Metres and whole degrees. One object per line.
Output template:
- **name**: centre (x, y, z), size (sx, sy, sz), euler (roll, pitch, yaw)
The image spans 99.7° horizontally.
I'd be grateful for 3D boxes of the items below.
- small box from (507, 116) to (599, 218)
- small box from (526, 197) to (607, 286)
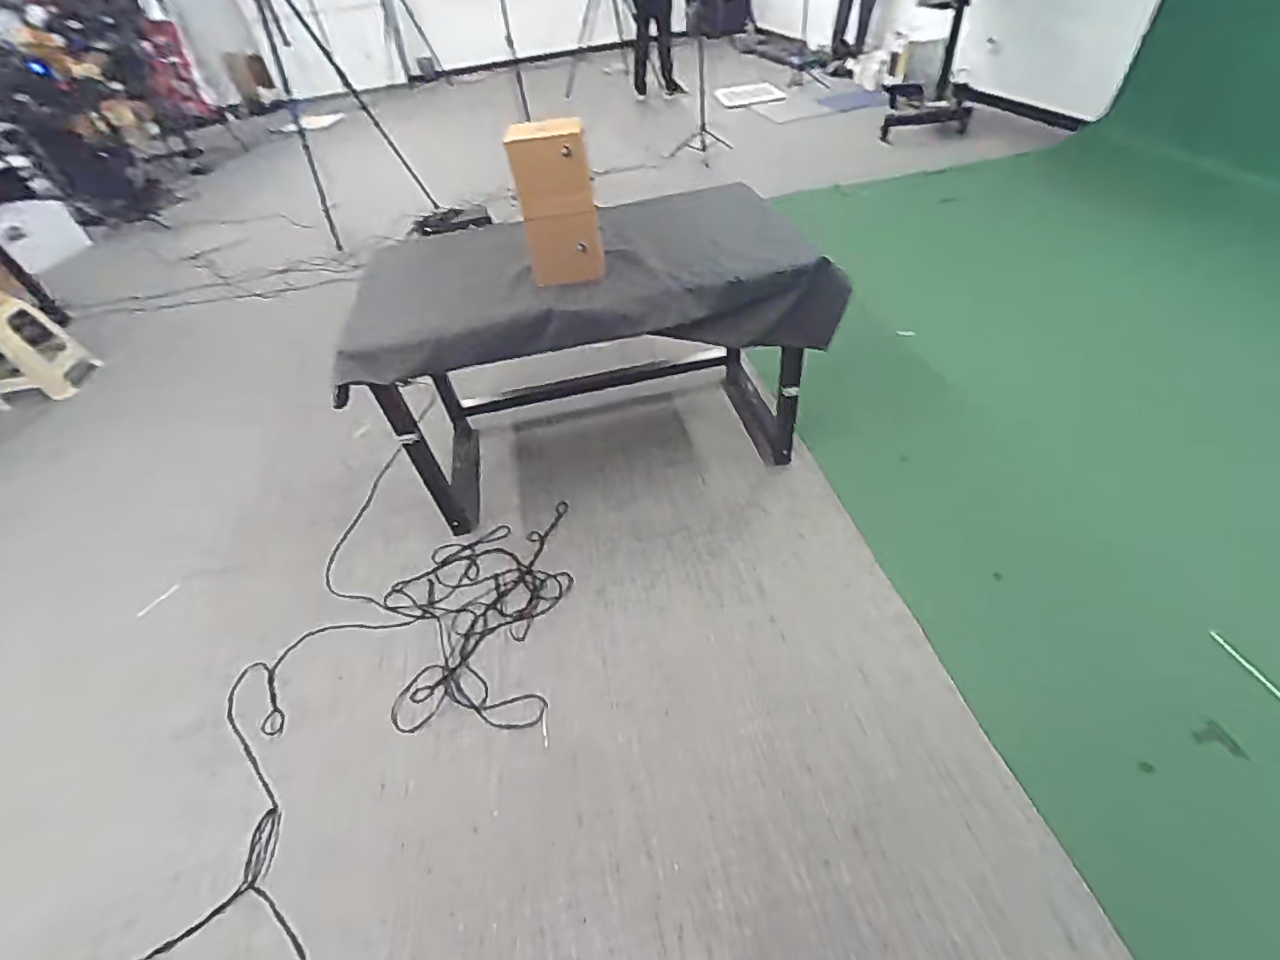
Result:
- **small box**: centre (-0.198, -0.735, 1.278), size (0.179, 0.176, 0.168), euler (-6, 44, 2)
- **small box**: centre (-0.180, -0.619, 1.390), size (0.179, 0.176, 0.168), euler (-7, 44, 3)
